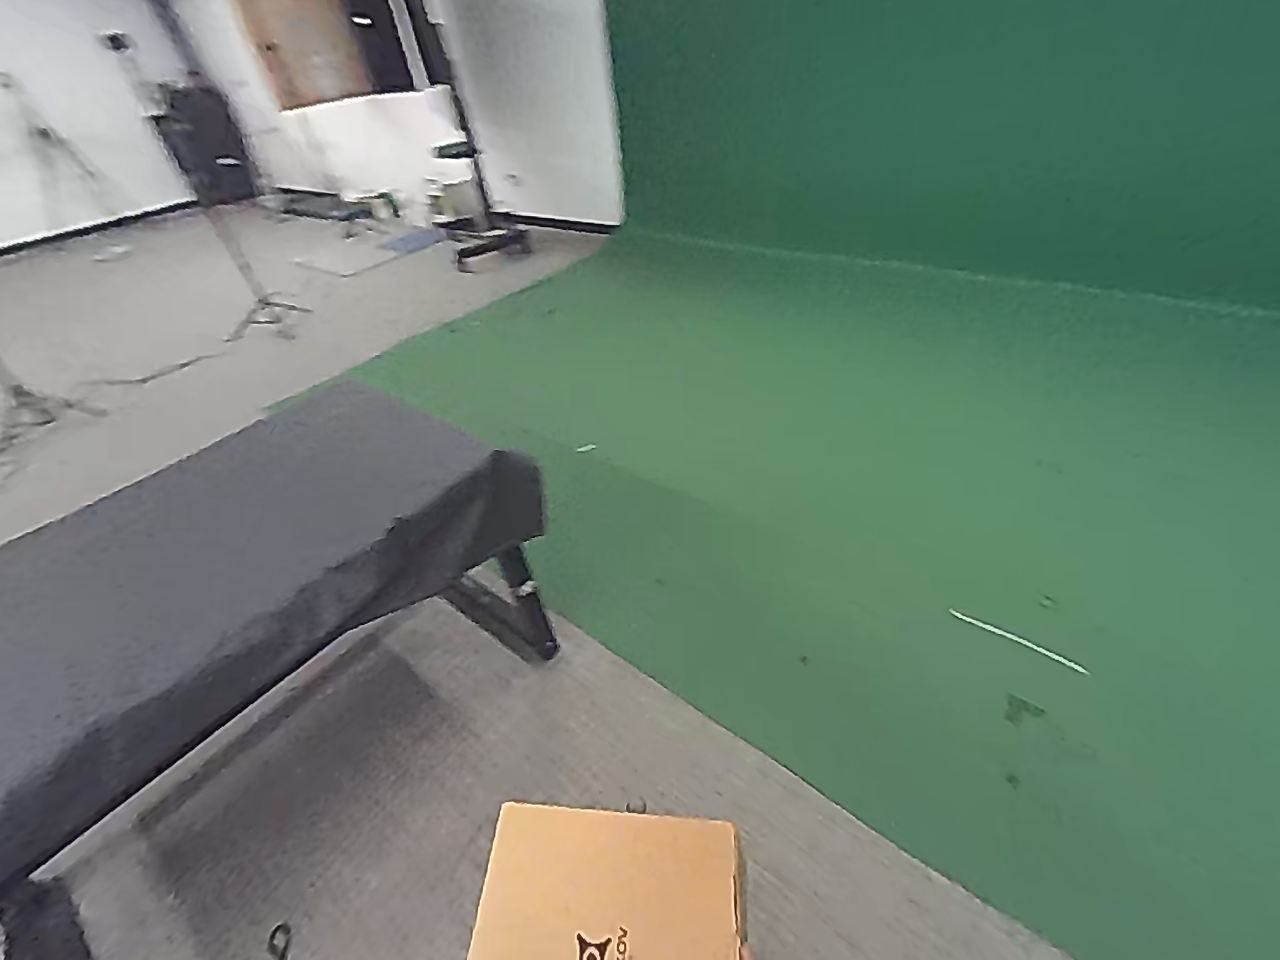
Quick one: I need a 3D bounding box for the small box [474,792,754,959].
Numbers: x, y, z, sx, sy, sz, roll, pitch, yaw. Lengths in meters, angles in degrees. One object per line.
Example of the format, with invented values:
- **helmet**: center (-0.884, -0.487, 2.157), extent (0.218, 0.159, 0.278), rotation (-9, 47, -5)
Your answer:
- **small box**: center (-0.007, 0.349, 0.396), extent (0.179, 0.176, 0.168), rotation (-1, 48, 11)
